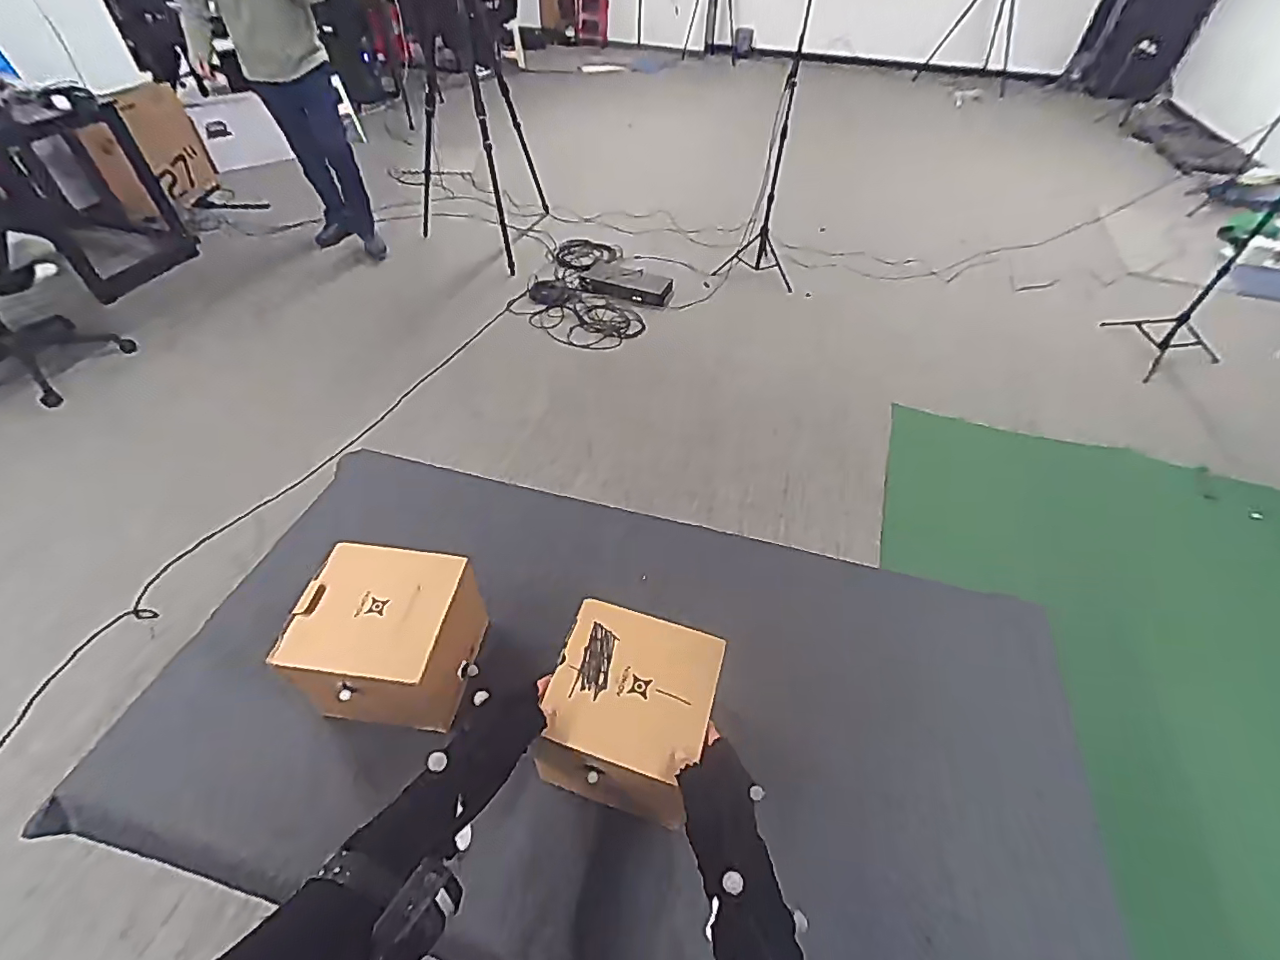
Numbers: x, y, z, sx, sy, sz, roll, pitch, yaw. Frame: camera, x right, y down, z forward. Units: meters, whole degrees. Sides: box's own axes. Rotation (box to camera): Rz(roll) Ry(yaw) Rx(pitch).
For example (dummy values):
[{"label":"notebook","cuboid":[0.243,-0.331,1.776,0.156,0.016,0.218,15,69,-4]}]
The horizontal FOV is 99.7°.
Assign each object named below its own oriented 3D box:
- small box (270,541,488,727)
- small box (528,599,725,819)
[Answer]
[{"label":"small box","cuboid":[-0.316,0.202,0.700,0.179,0.176,0.168,7,49,3]},{"label":"small box","cuboid":[-0.012,0.273,0.641,0.179,0.176,0.168,15,48,10]}]
